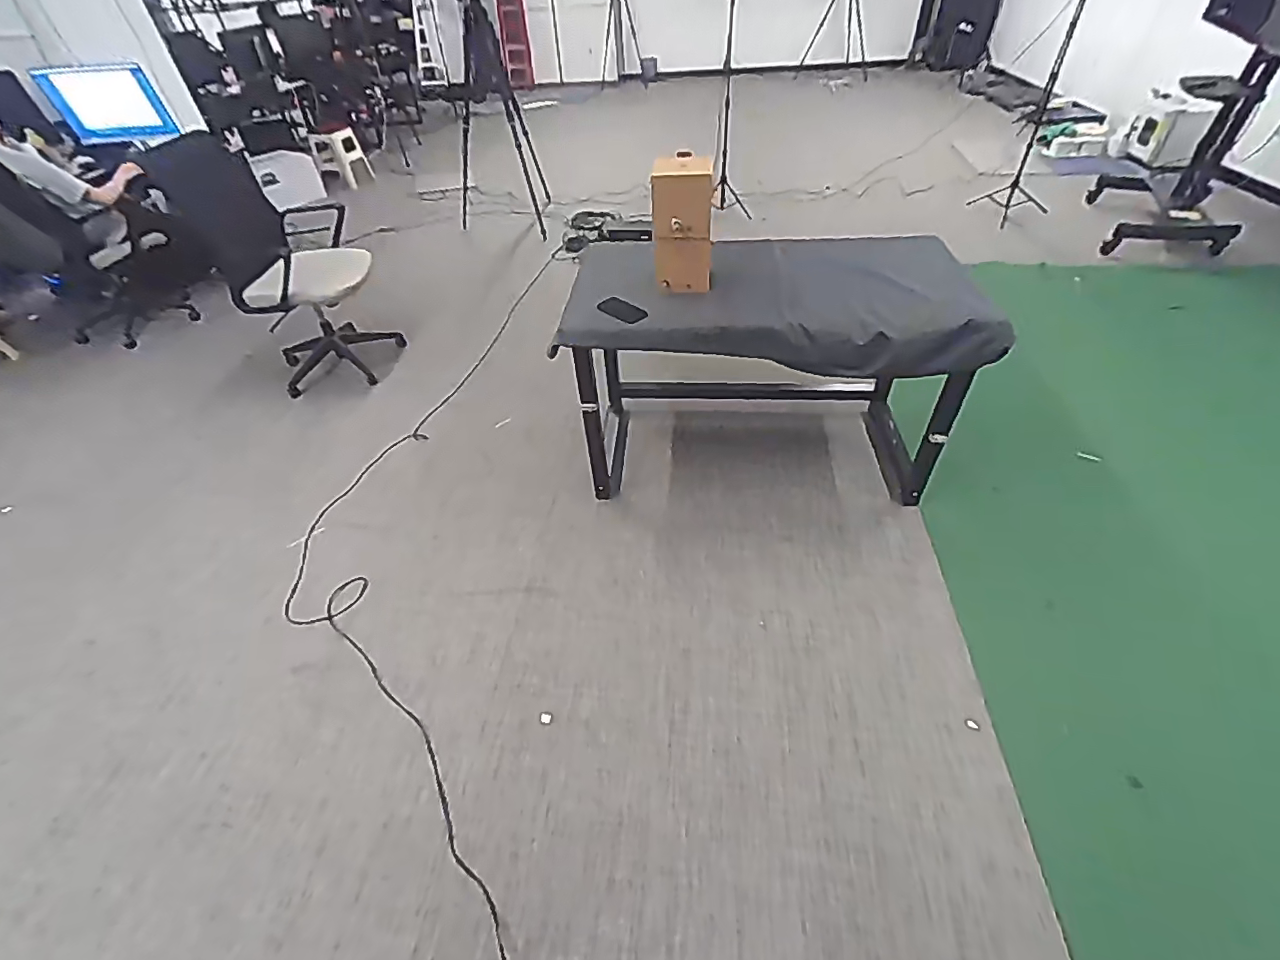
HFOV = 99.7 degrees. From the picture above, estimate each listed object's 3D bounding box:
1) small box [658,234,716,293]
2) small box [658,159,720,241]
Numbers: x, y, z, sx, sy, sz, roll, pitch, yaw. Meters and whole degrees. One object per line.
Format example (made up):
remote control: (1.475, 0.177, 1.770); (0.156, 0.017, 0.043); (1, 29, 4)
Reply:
small box: (0.148, -0.686, 1.658); (0.168, 0.176, 0.179); (3, 44, 7)
small box: (0.140, -0.798, 1.541); (0.168, 0.176, 0.179); (2, 45, 7)
